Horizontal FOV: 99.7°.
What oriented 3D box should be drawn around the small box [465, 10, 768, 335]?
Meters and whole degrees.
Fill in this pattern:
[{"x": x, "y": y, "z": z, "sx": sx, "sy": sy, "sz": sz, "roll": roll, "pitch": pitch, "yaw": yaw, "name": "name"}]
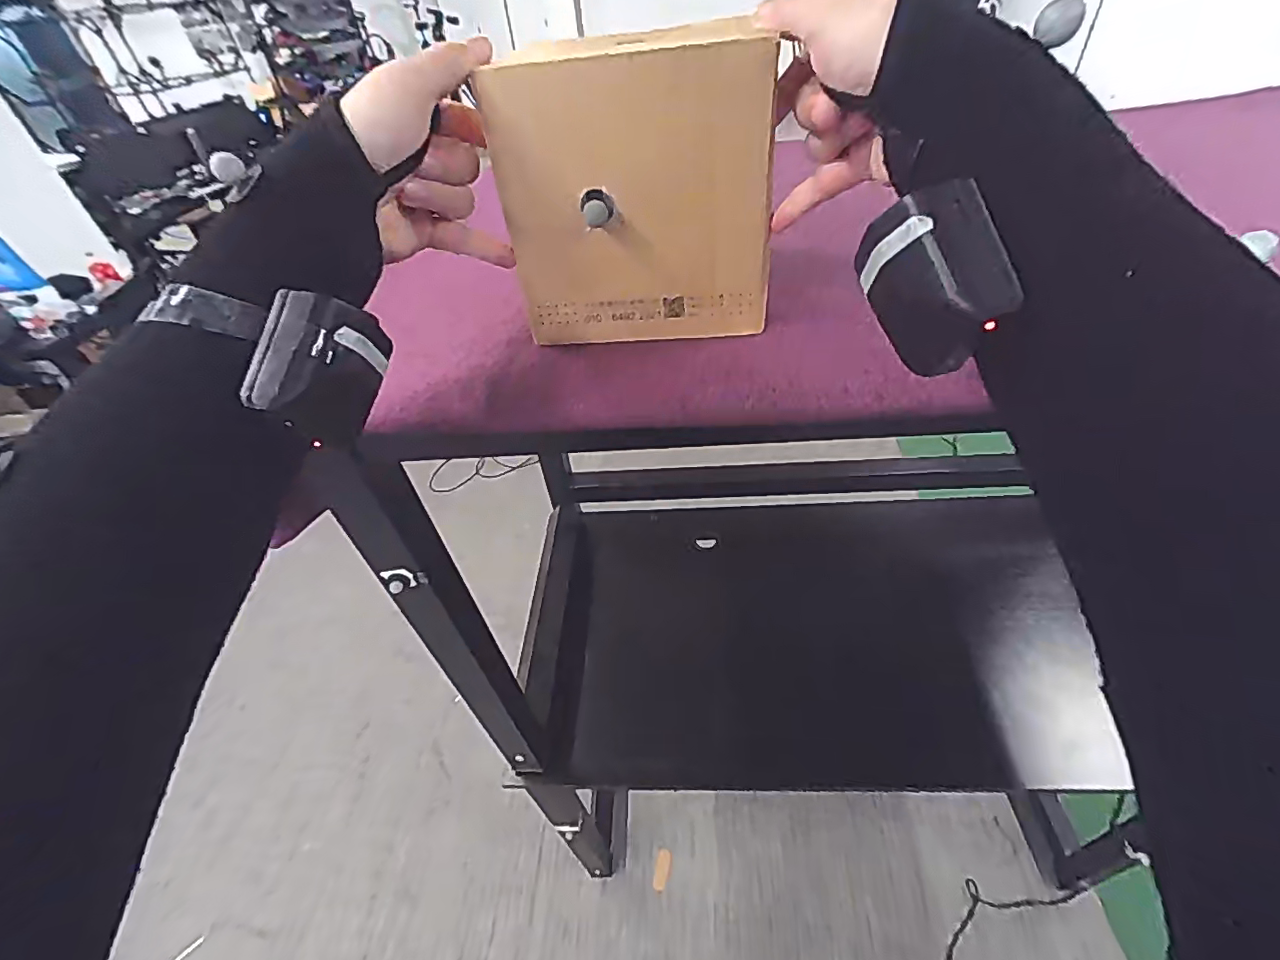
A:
[{"x": 0.001, "y": -0.215, "z": 0.392, "sx": 0.168, "sy": 0.176, "sz": 0.179, "roll": -2, "pitch": 41, "yaw": 7, "name": "small box"}]
